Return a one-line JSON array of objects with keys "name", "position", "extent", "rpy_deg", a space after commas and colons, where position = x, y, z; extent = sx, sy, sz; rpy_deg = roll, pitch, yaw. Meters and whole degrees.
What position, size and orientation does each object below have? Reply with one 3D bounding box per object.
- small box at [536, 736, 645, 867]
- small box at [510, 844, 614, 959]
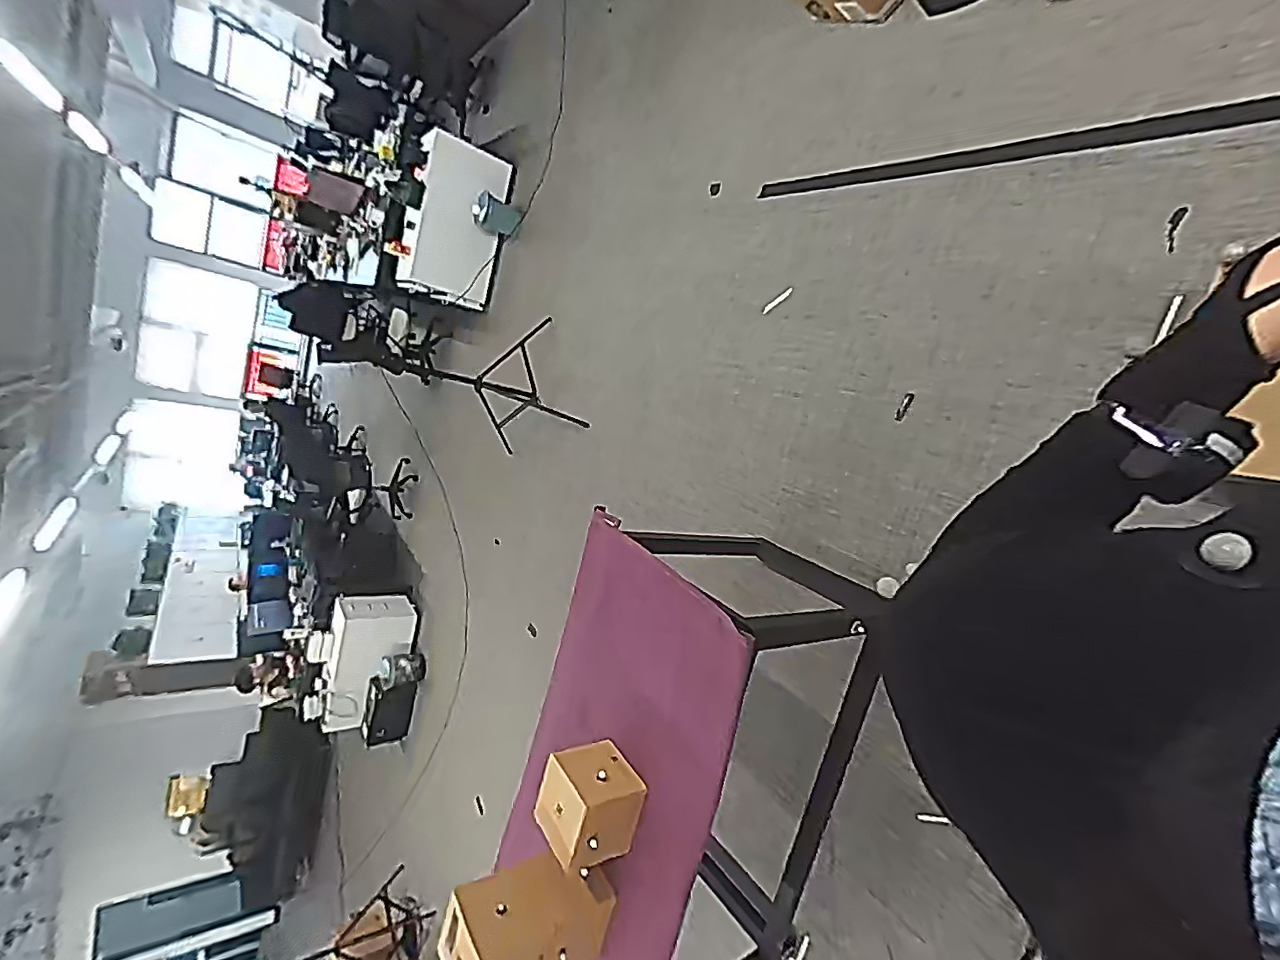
[{"name": "small box", "position": [-0.111, 0.718, 1.230], "extent": [0.168, 0.176, 0.179], "rpy_deg": [28, 107, 50]}, {"name": "small box", "position": [-0.183, 0.991, 1.272], "extent": [0.168, 0.176, 0.179], "rpy_deg": [27, 105, 49]}]
